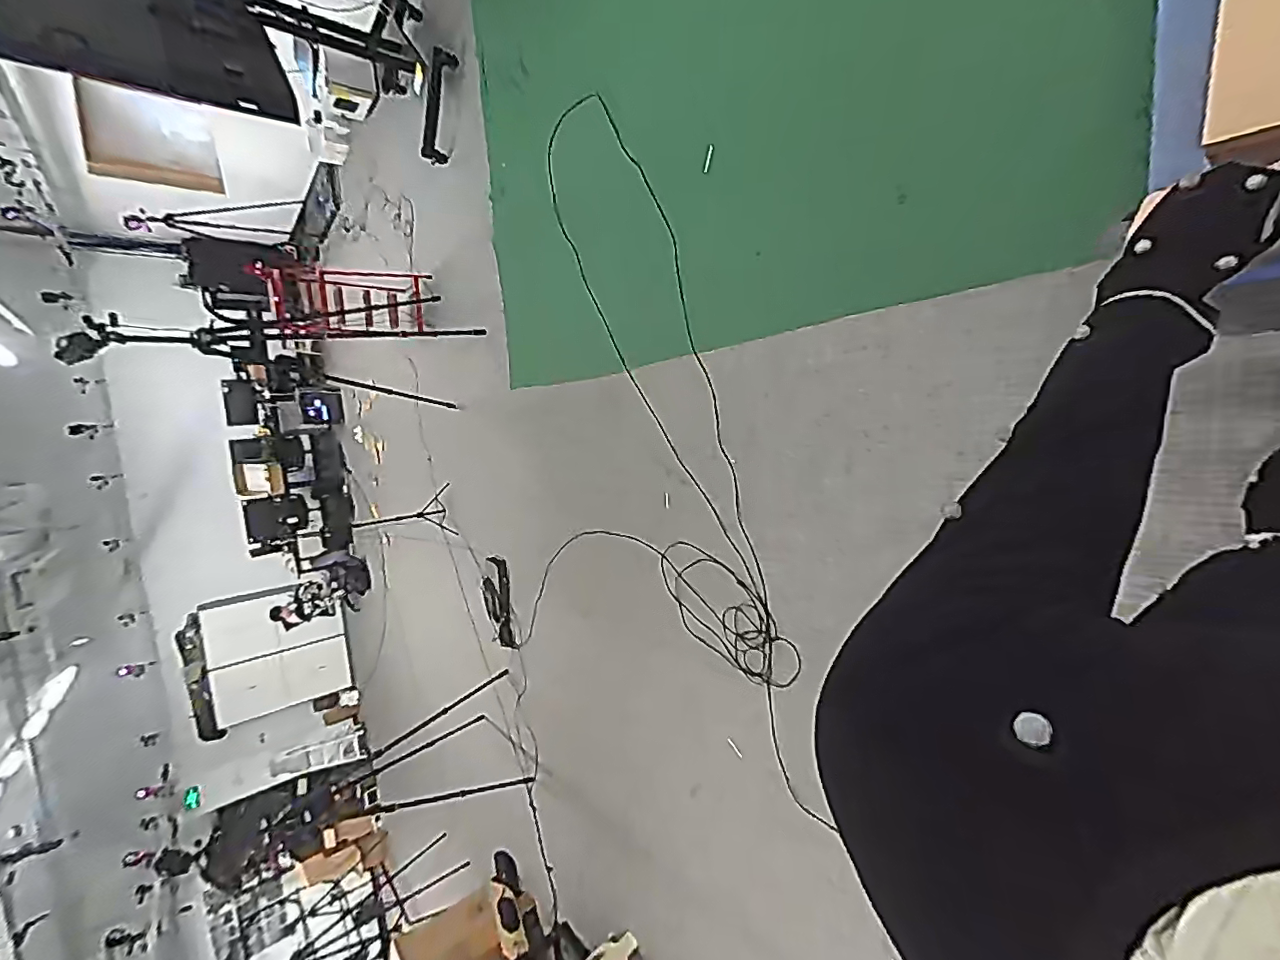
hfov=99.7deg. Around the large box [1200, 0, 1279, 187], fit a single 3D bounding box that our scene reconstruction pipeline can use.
[{"bbox_3d":[0.987,-0.668,0.698,0.320,0.320,0.408,9,104,49],"label":"large box"}]
